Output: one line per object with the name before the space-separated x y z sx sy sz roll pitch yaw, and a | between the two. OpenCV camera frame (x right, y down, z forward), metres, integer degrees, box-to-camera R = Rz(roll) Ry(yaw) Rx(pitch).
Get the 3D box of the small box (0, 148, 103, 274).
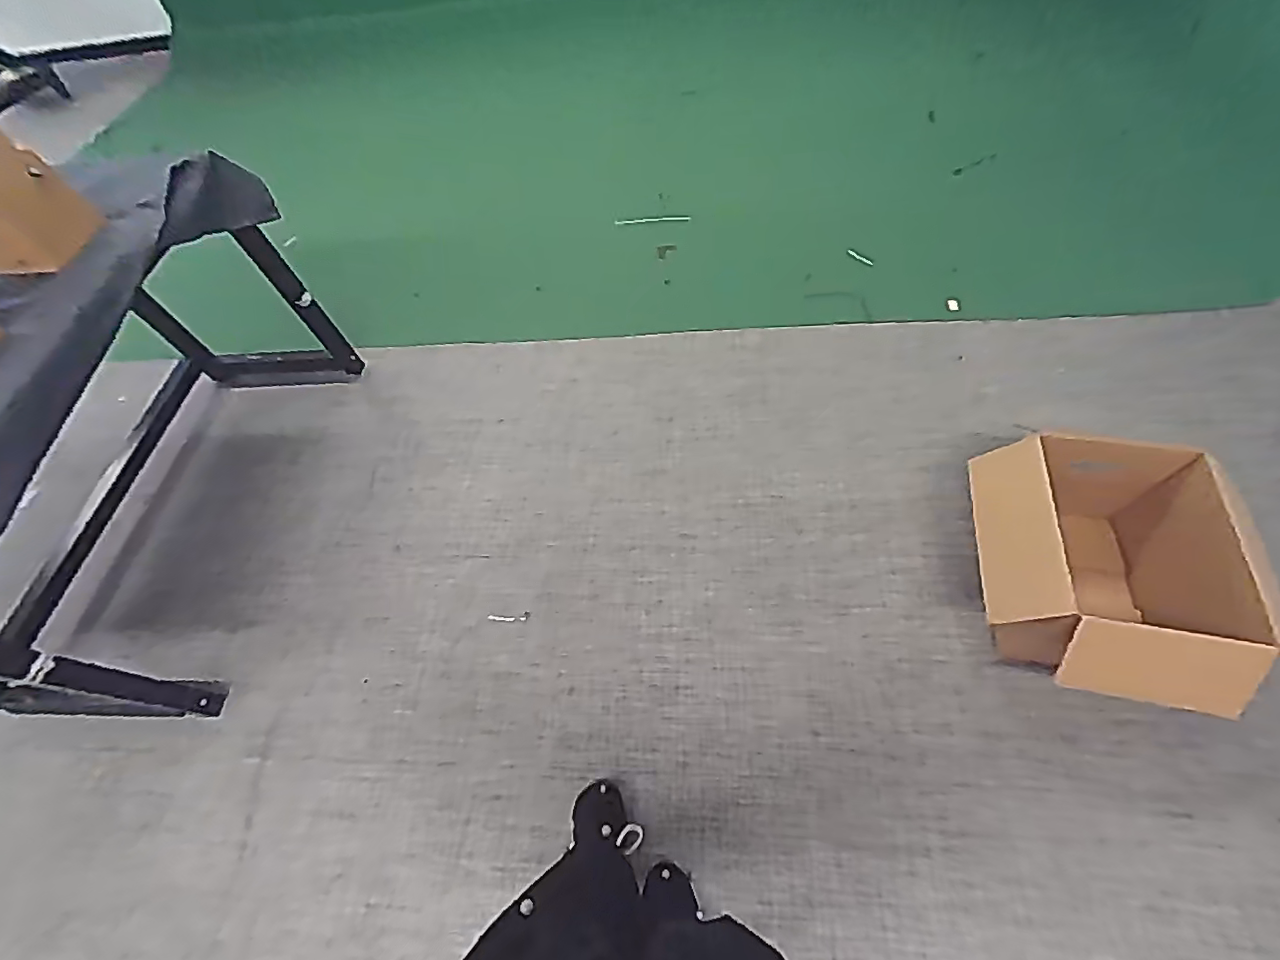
small box | -1.276 -0.539 1.102 0.168 0.176 0.179 0 58 7
